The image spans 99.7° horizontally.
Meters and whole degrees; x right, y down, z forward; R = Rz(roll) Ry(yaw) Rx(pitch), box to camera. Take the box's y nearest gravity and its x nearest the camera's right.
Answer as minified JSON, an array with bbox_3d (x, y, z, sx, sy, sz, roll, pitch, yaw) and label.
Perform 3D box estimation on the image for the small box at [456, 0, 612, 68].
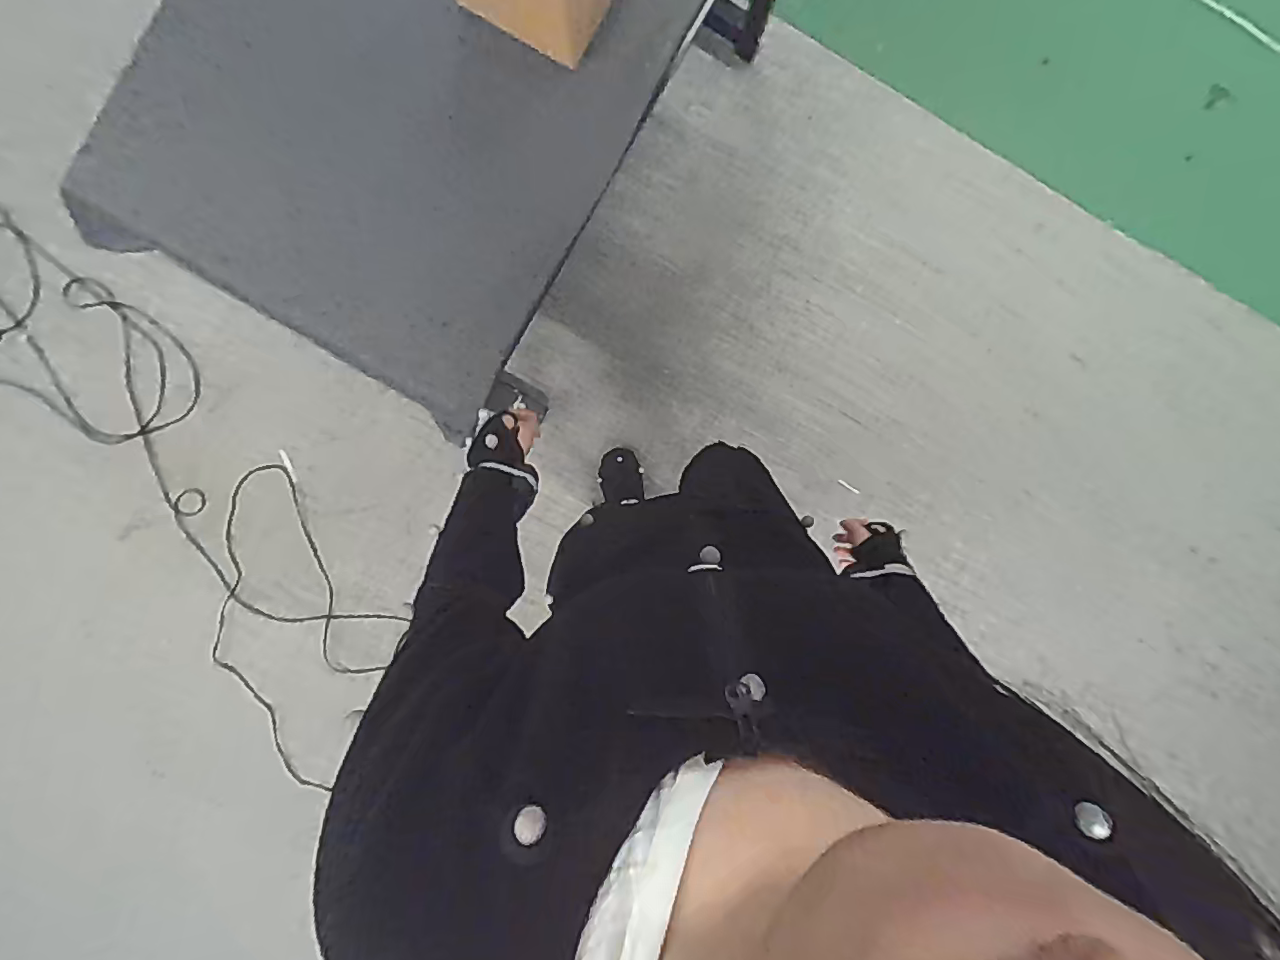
[{"bbox_3d":[-0.130,-0.650,0.642,0.179,0.176,0.168,28,92,-4],"label":"small box"}]
